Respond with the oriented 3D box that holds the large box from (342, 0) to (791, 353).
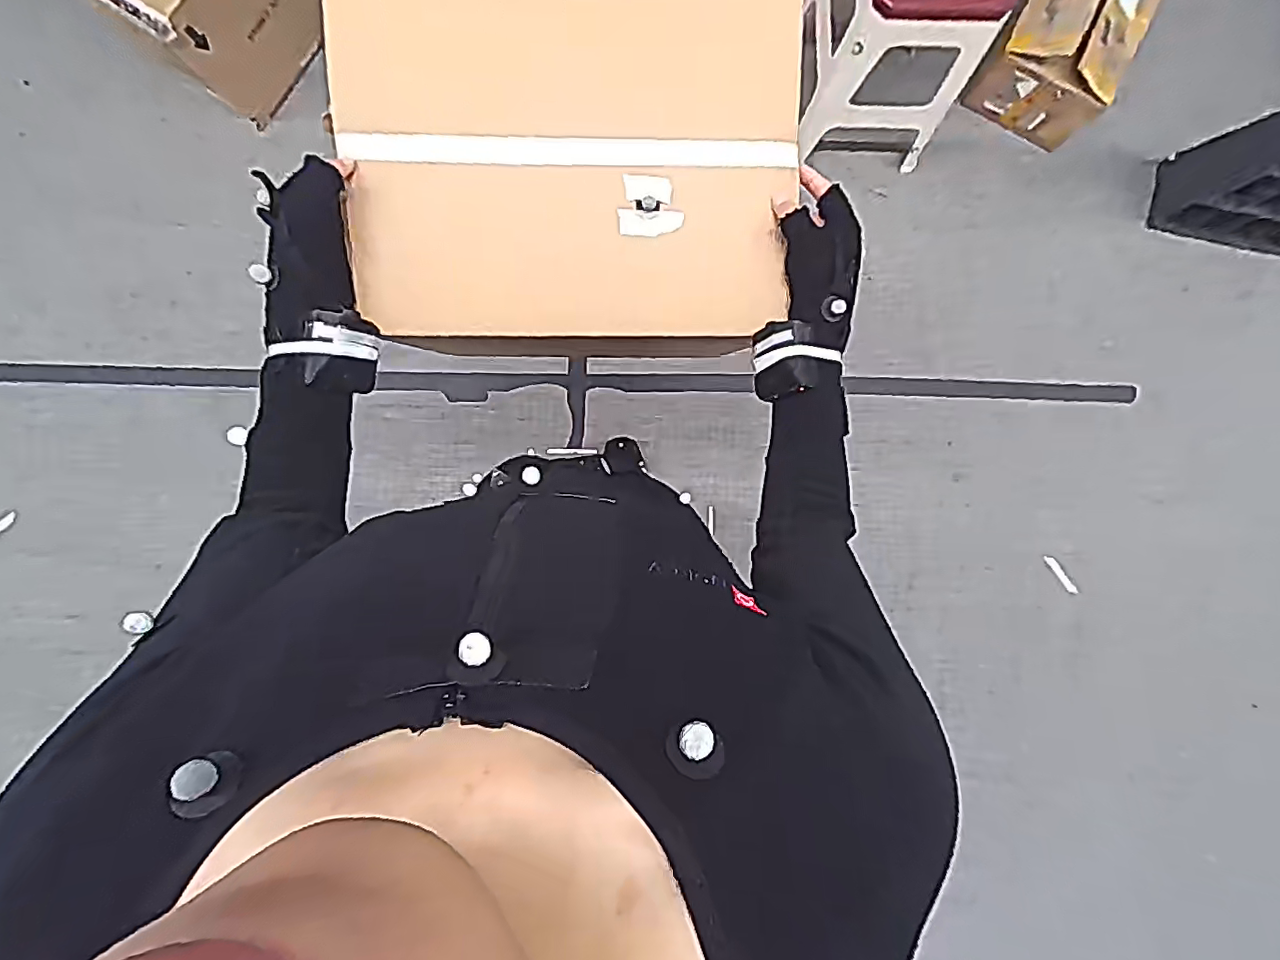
[{"bbox_3d":[-0.069,-0.325,0.645,0.408,0.320,0.320,-2,100,-4],"label":"large box"}]
